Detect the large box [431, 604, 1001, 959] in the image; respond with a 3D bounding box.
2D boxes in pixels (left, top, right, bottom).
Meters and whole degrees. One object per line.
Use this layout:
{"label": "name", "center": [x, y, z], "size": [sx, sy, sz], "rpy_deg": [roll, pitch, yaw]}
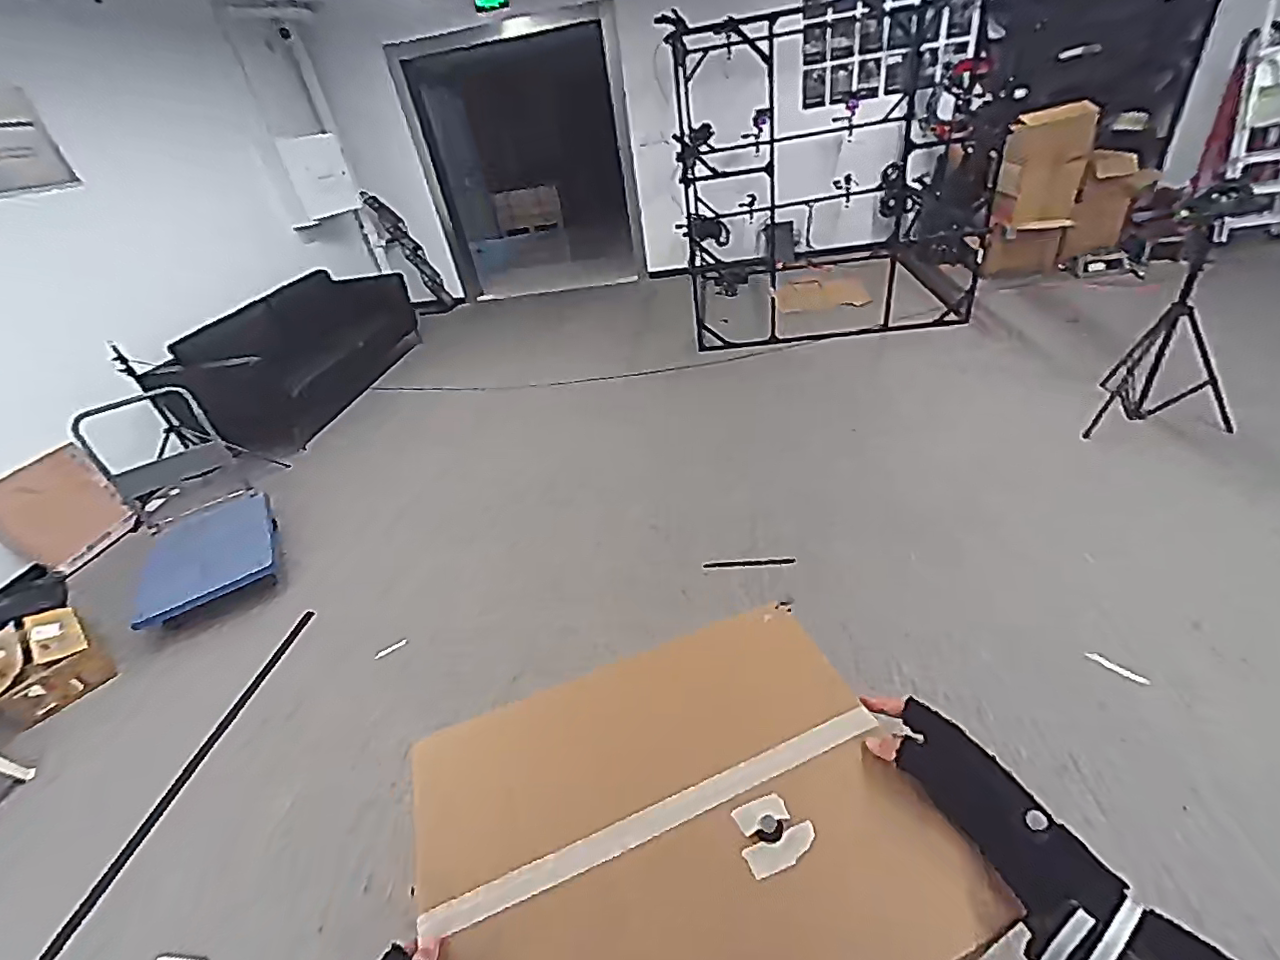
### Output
{"label": "large box", "center": [0.044, 0.399, 0.550], "size": [0.408, 0.320, 0.320], "rpy_deg": [-17, 38, -13]}
